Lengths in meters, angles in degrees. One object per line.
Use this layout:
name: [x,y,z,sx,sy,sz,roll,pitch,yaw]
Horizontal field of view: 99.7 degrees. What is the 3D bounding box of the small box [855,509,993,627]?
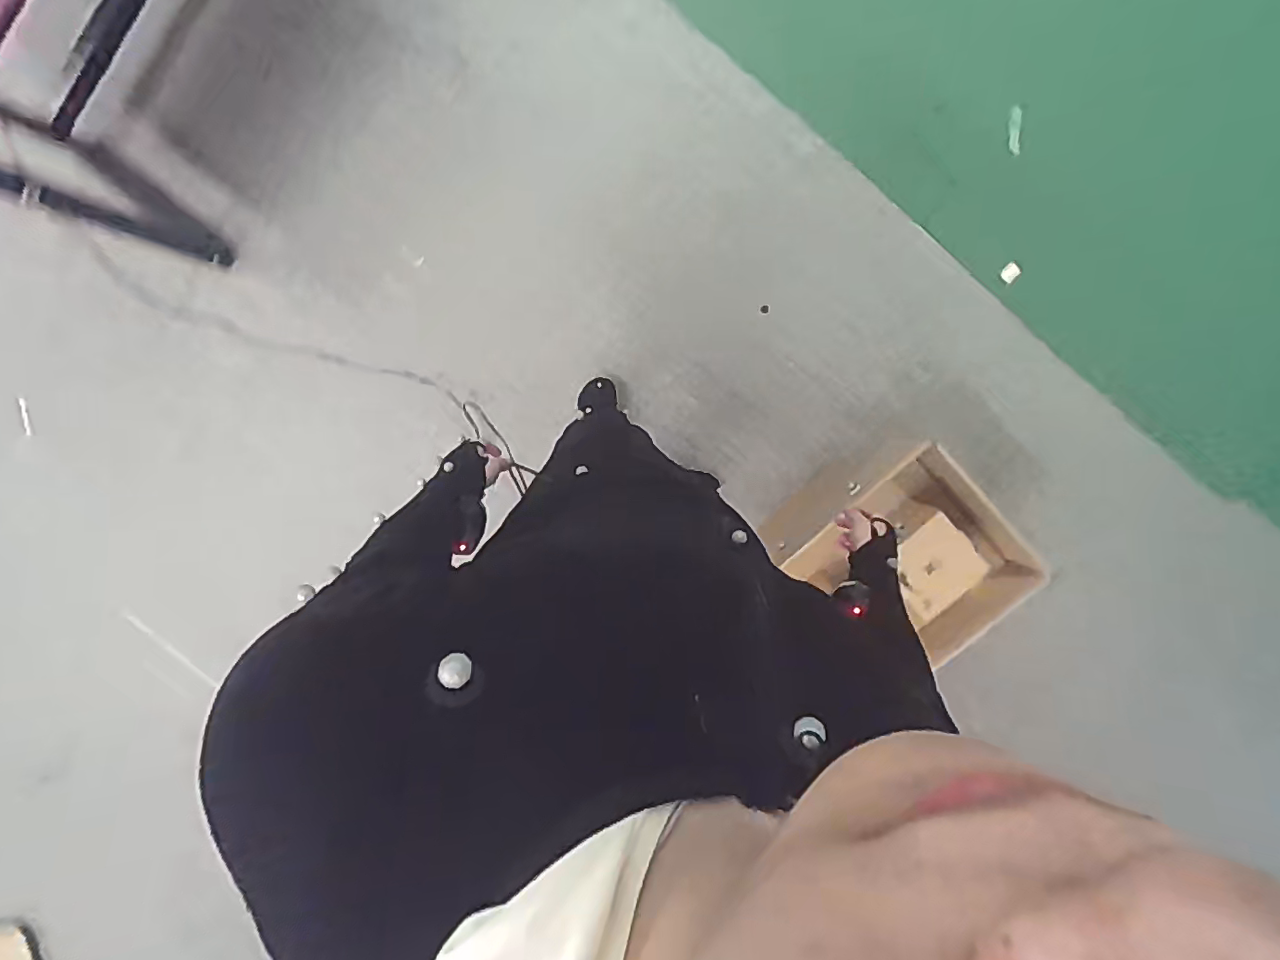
small box: [0.610,0.182,1.188,0.179,0.176,0.168,-41,92,6]
